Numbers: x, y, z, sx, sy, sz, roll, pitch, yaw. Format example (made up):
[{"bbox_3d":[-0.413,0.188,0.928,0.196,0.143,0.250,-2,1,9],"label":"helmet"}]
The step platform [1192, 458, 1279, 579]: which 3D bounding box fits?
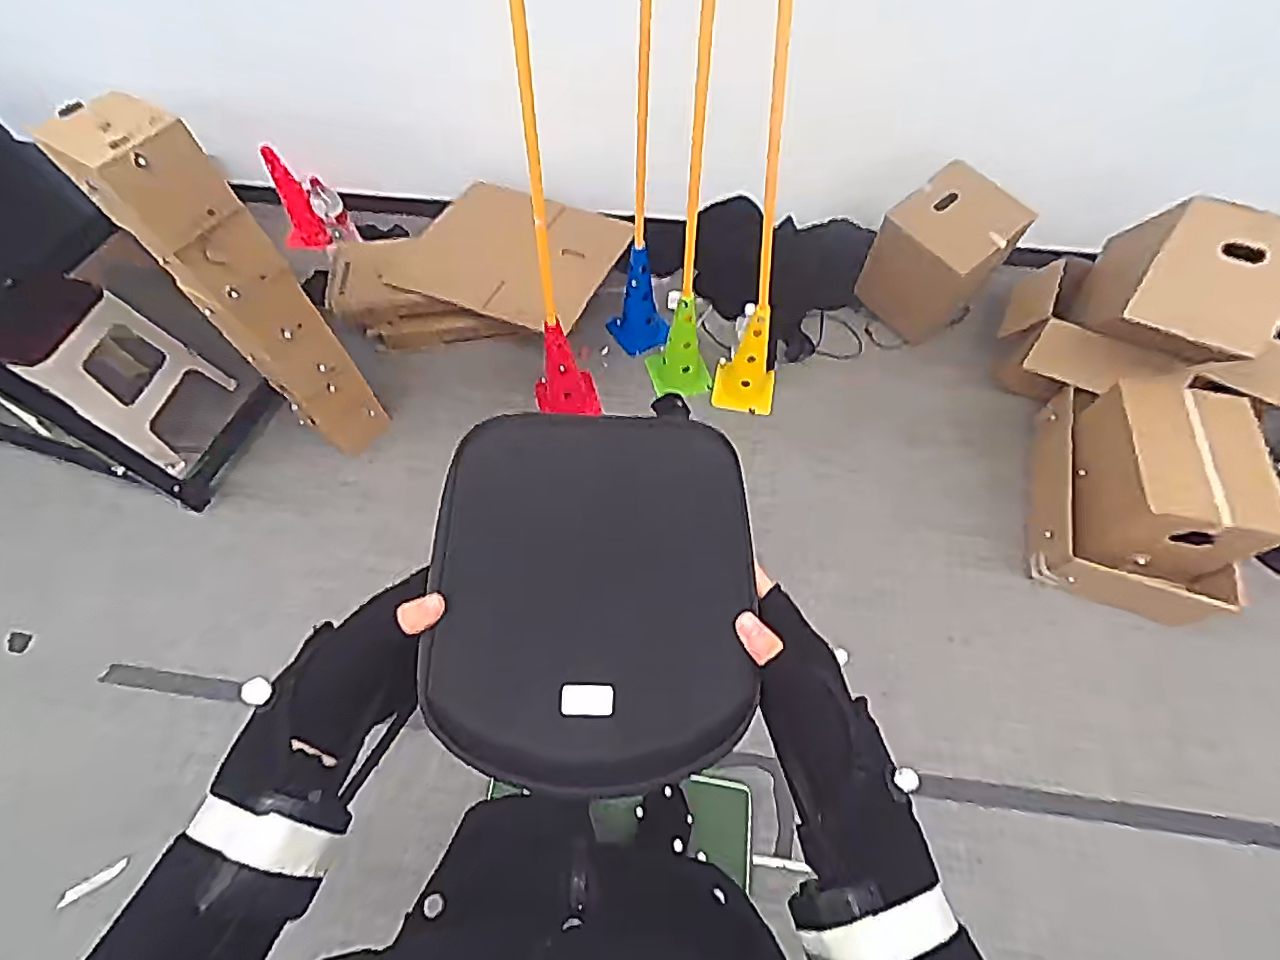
[{"bbox_3d":[2.032,0.035,1.572,0.684,0.204,0.286,-19,63,-10],"label":"step platform"}]
